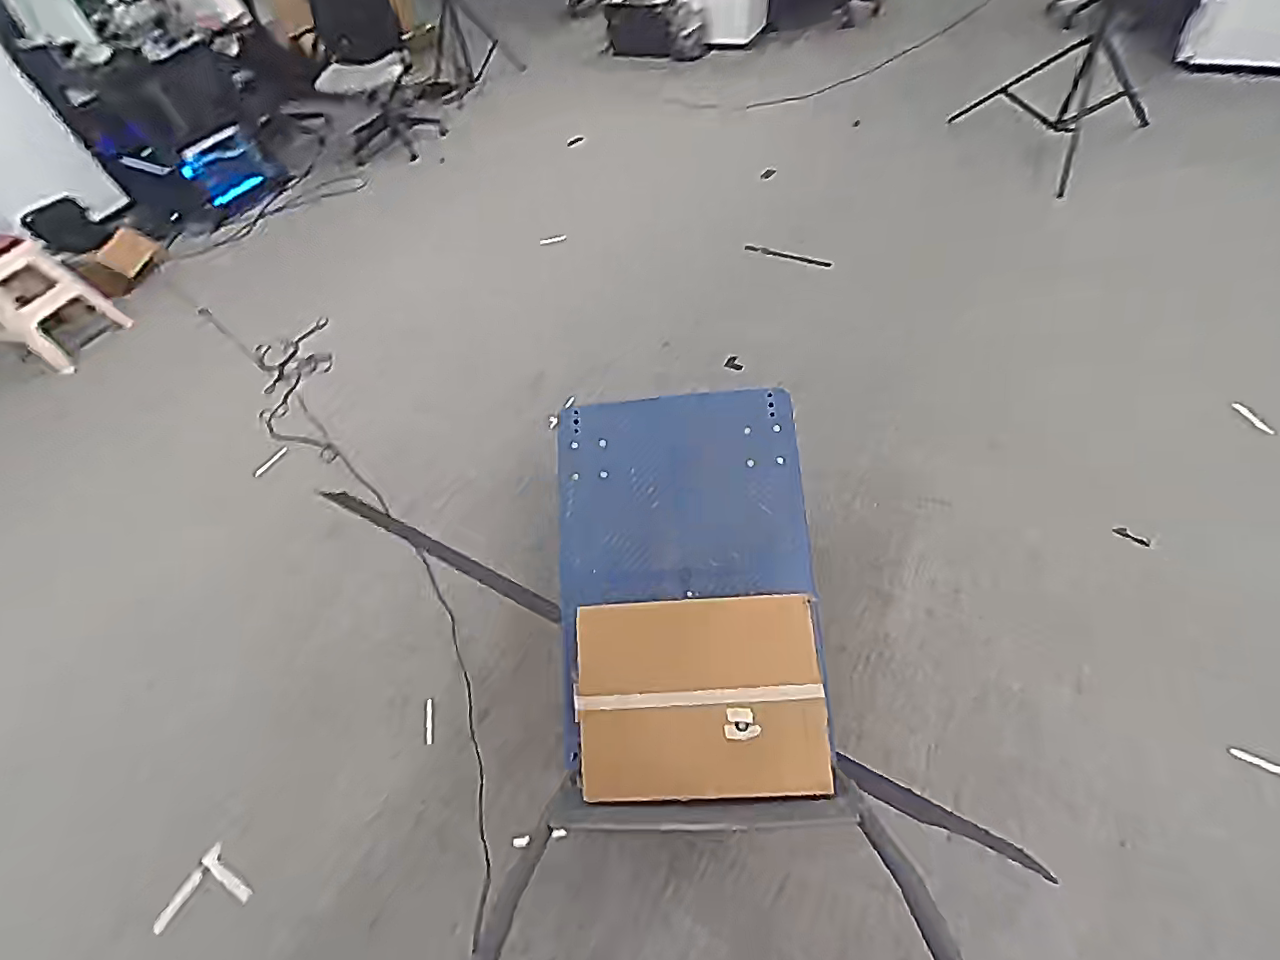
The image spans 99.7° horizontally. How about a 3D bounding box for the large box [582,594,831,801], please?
[{"bbox_3d":[0.114,0.399,1.062,0.408,0.320,0.320,-5,77,4],"label":"large box"}]
